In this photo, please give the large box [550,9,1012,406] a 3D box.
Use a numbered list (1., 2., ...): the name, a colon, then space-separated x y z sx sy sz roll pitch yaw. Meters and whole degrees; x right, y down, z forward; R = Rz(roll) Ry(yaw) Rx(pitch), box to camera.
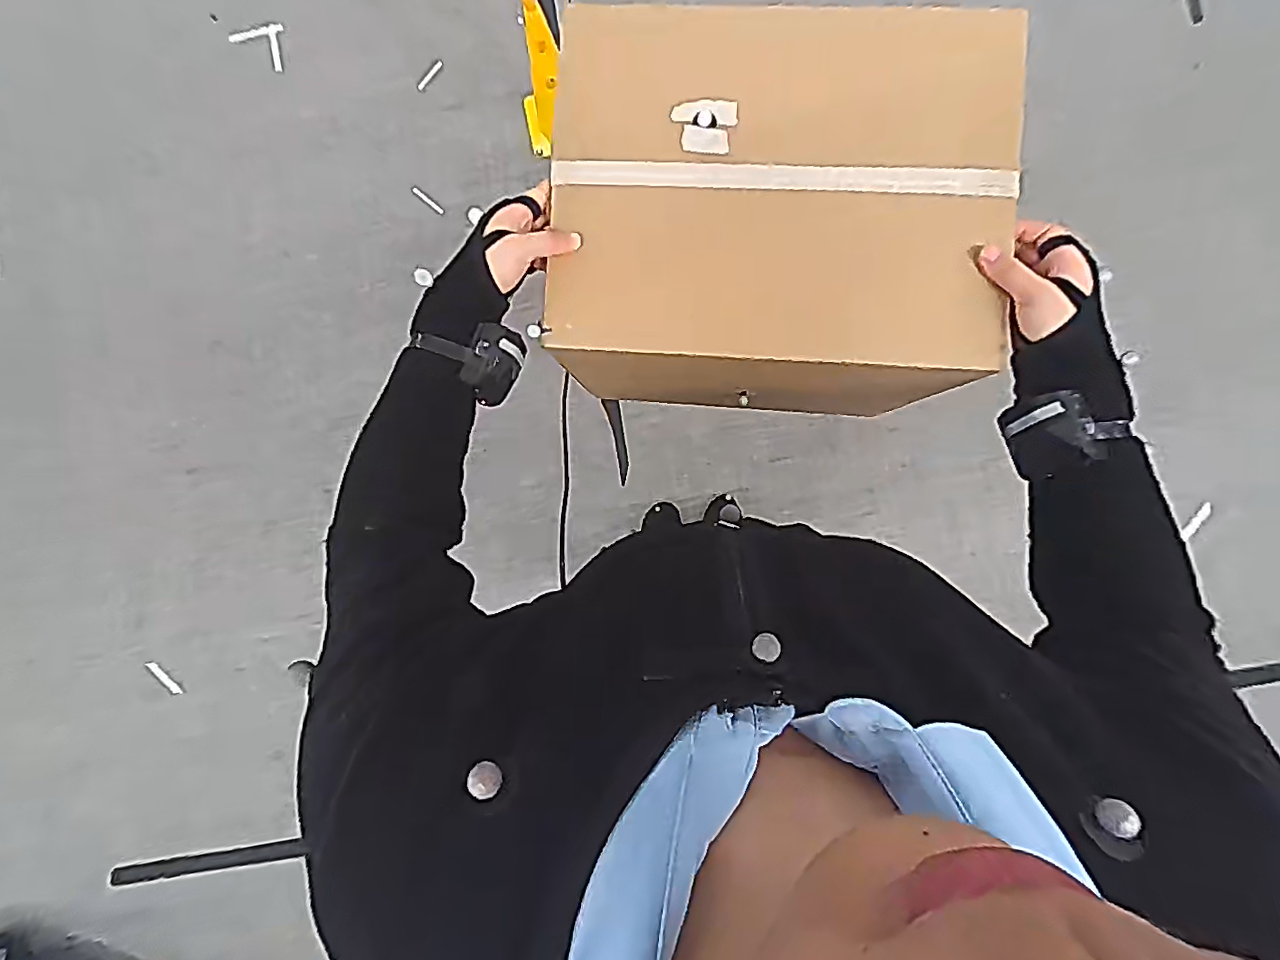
1. large box: 0.136 -0.263 0.635 0.408 0.320 0.320 3 89 6
